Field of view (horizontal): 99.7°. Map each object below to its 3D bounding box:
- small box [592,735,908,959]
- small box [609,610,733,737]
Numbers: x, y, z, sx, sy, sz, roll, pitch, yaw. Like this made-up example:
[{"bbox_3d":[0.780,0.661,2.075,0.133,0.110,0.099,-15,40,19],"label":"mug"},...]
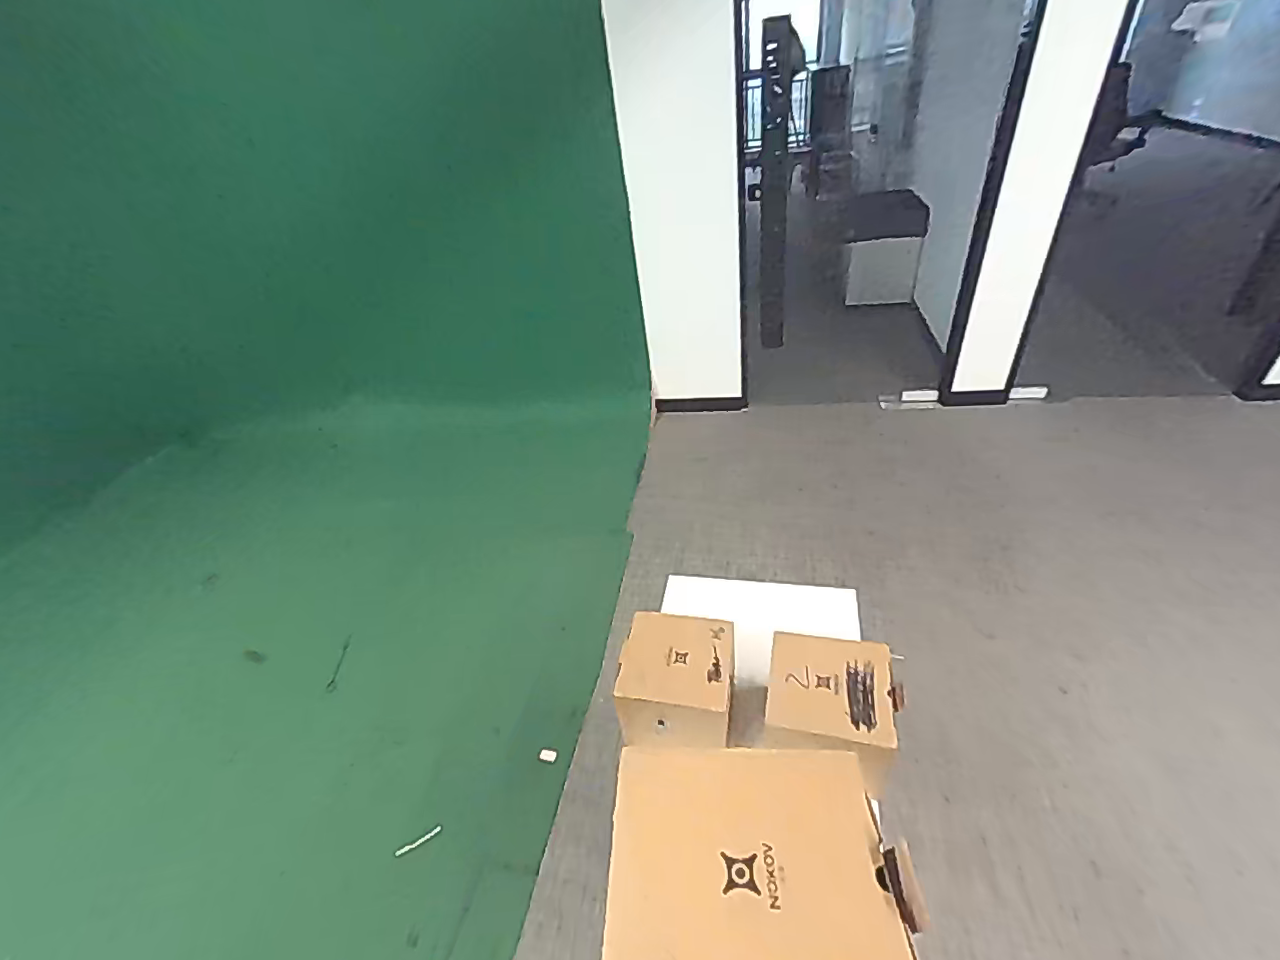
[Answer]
[{"bbox_3d":[0.068,0.307,0.383,0.179,0.176,0.168,-1,32,4],"label":"small box"},{"bbox_3d":[0.062,0.345,0.917,0.179,0.176,0.168,3,40,14],"label":"small box"}]
